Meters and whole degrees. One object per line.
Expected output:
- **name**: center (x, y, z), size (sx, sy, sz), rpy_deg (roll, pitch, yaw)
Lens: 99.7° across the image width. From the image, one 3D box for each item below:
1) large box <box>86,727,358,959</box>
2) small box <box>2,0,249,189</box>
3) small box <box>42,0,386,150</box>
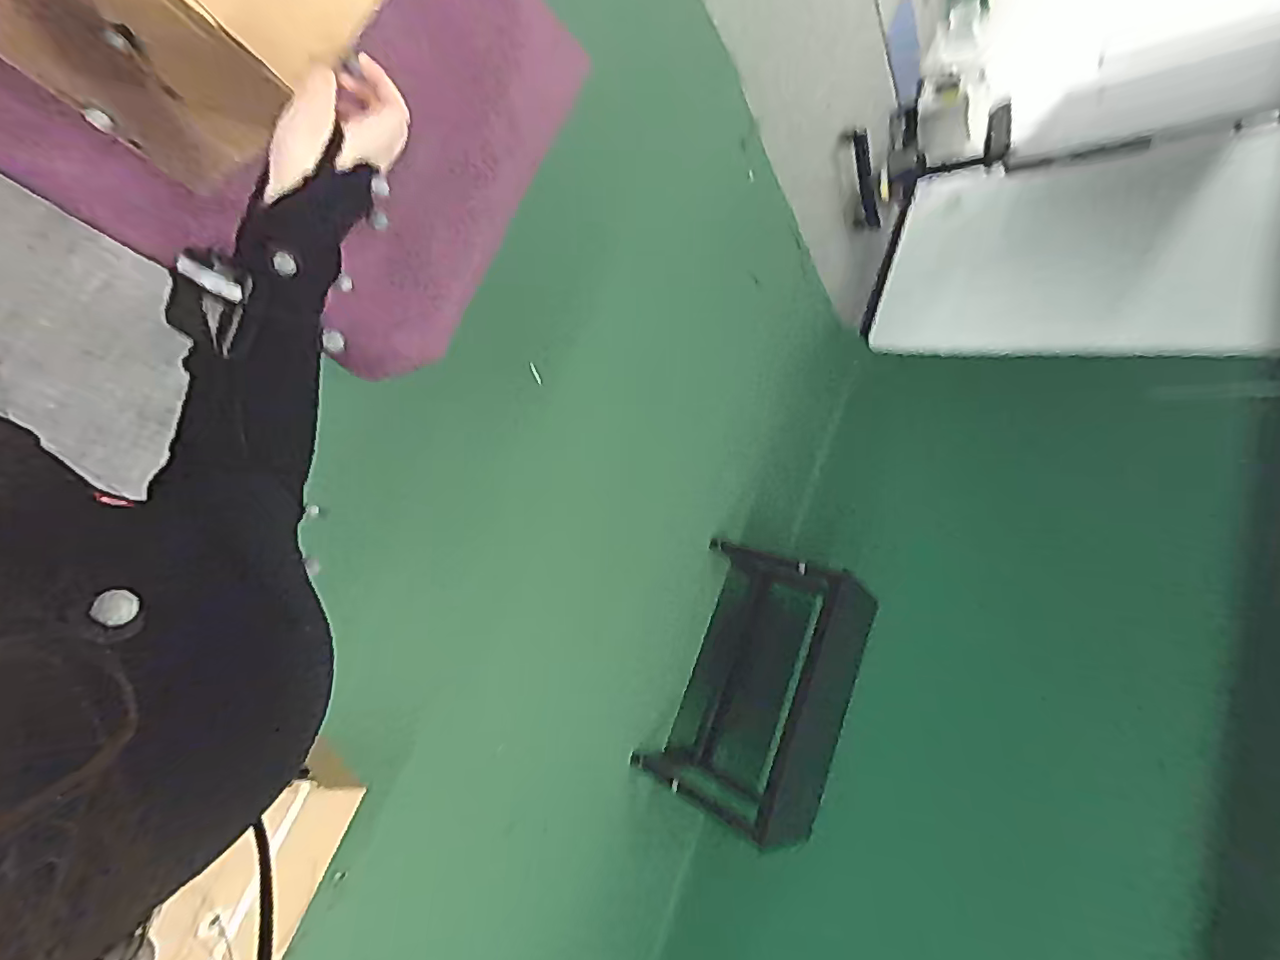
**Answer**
- **large box**: center (-0.945, 0.838, 1.240), size (0.320, 0.320, 0.408), rpy_deg (40, 70, -46)
- **small box**: center (-0.438, -0.413, 0.506), size (0.168, 0.176, 0.179), rpy_deg (38, 71, -47)
- **small box**: center (-0.313, -0.393, 0.403), size (0.168, 0.176, 0.179), rpy_deg (37, 71, -47)
